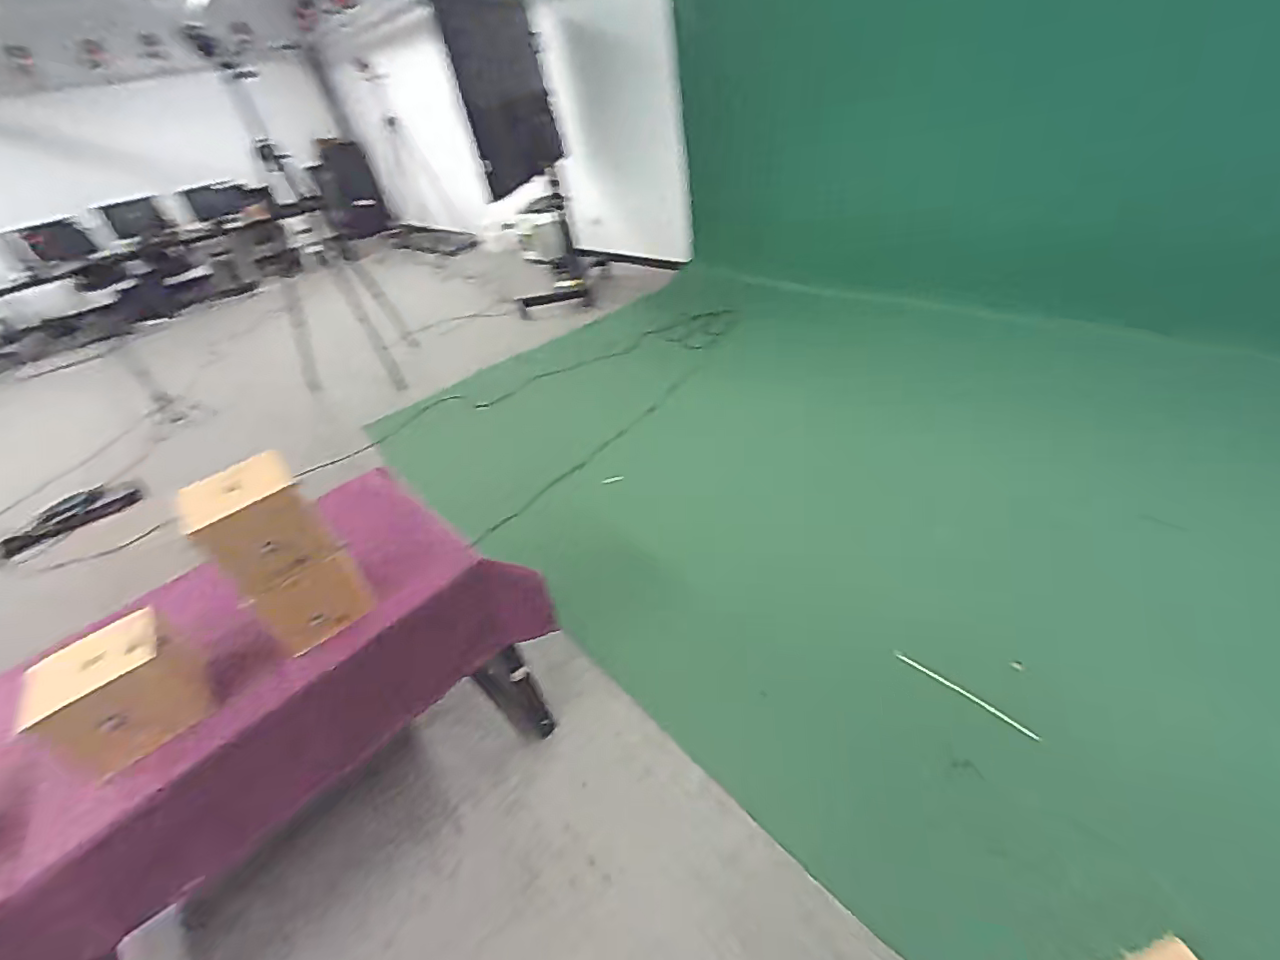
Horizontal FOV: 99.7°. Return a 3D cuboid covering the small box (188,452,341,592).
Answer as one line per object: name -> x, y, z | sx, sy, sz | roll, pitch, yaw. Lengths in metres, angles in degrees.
small box -> -0.691, 0.081, 1.005 | 0.168, 0.176, 0.179 | -33, 42, -27

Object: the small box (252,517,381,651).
small box -> -0.665, 0.211, 1.104 | 0.168, 0.176, 0.179 | -33, 42, -26

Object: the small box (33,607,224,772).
small box -> -0.887, 0.369, 0.953 | 0.179, 0.176, 0.168 | -34, 42, -26
